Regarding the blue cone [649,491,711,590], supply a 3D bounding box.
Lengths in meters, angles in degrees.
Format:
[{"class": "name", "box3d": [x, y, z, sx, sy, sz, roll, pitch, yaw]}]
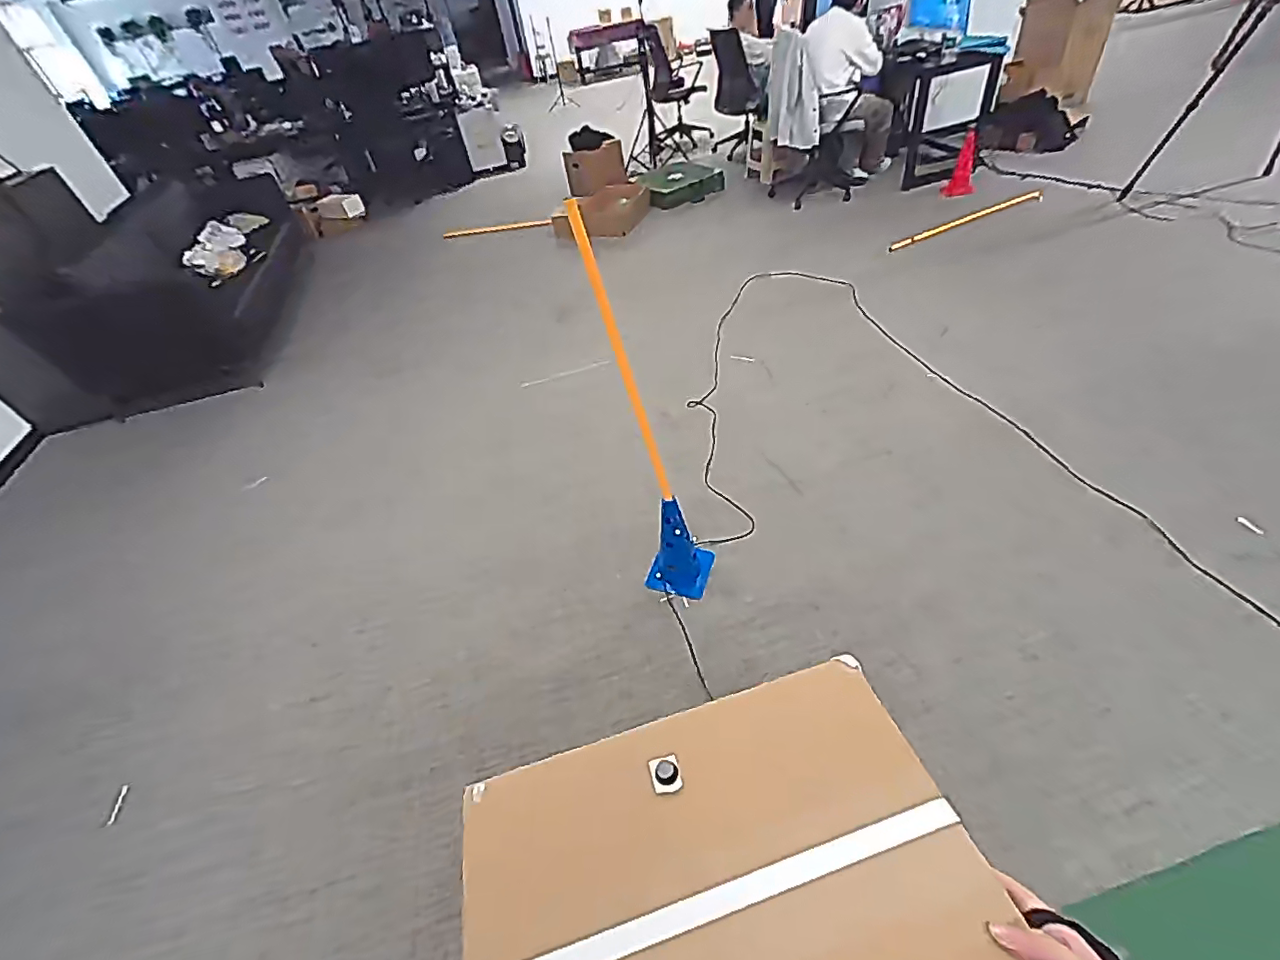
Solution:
[{"class": "blue cone", "box3d": [0.110, 0.174, 1.718, 0.192, 0.380, 0.193, 6, 47, 19]}]
